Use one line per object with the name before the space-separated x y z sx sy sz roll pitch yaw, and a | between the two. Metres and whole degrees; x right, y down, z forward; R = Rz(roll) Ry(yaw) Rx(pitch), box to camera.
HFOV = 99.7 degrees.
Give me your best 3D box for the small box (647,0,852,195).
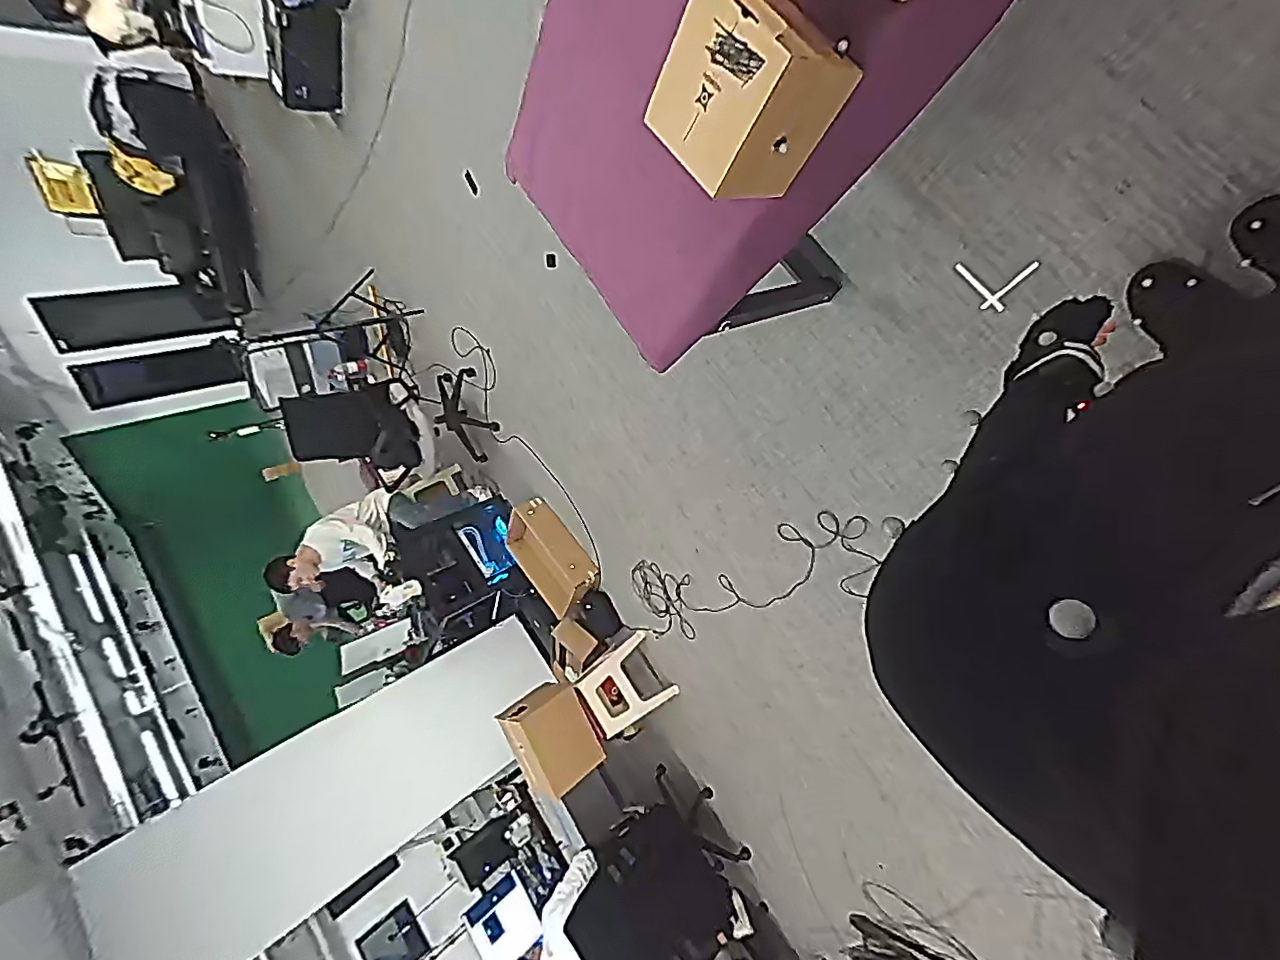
small box | 0.147 -0.507 0.709 0.168 0.176 0.179 55 143 14
